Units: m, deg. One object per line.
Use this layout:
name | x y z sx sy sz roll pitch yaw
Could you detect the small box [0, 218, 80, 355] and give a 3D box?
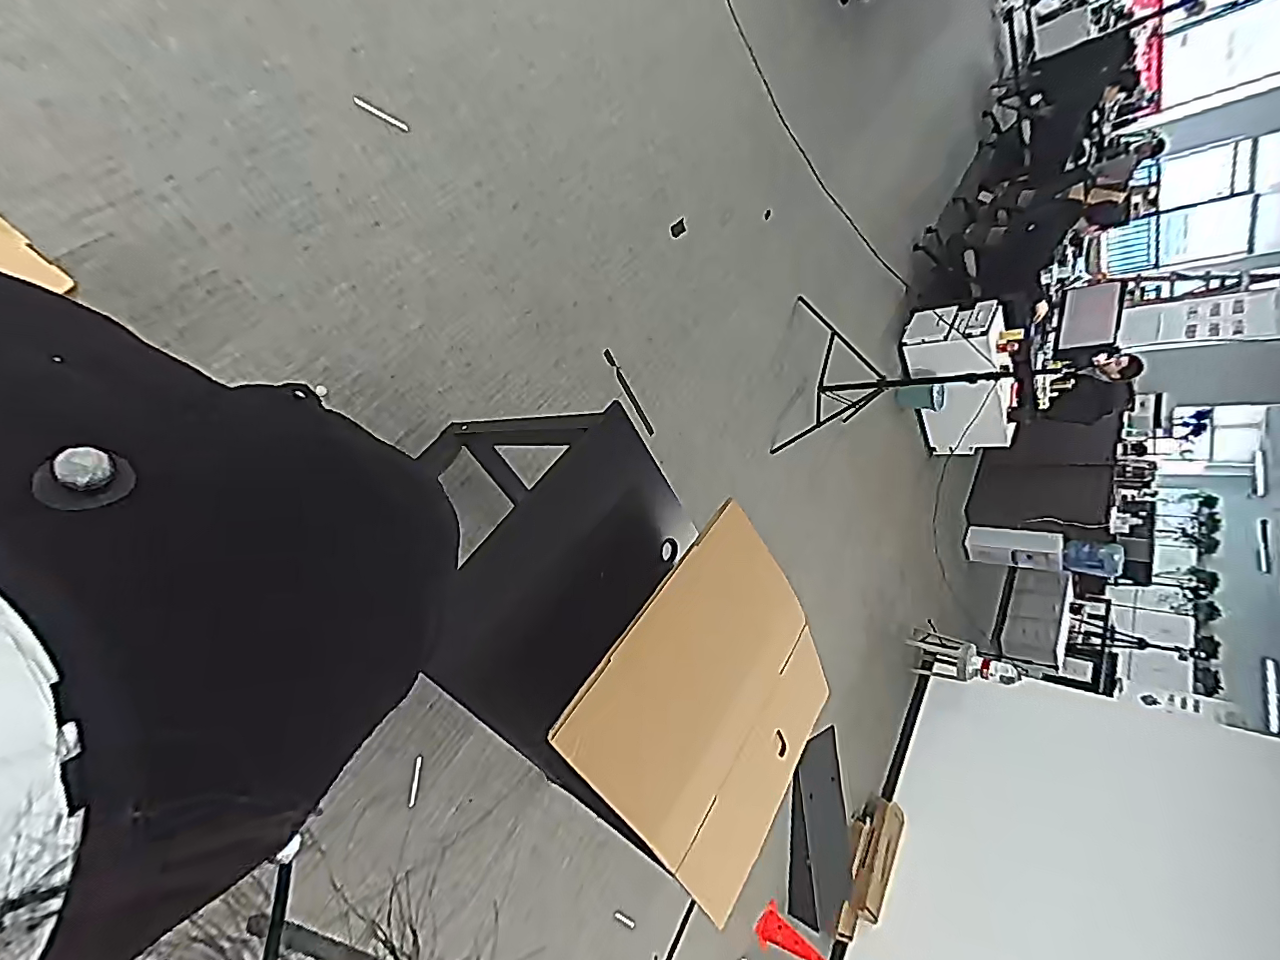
small box | -0.896 -0.258 0.700 0.168 0.176 0.179 52 57 -34
